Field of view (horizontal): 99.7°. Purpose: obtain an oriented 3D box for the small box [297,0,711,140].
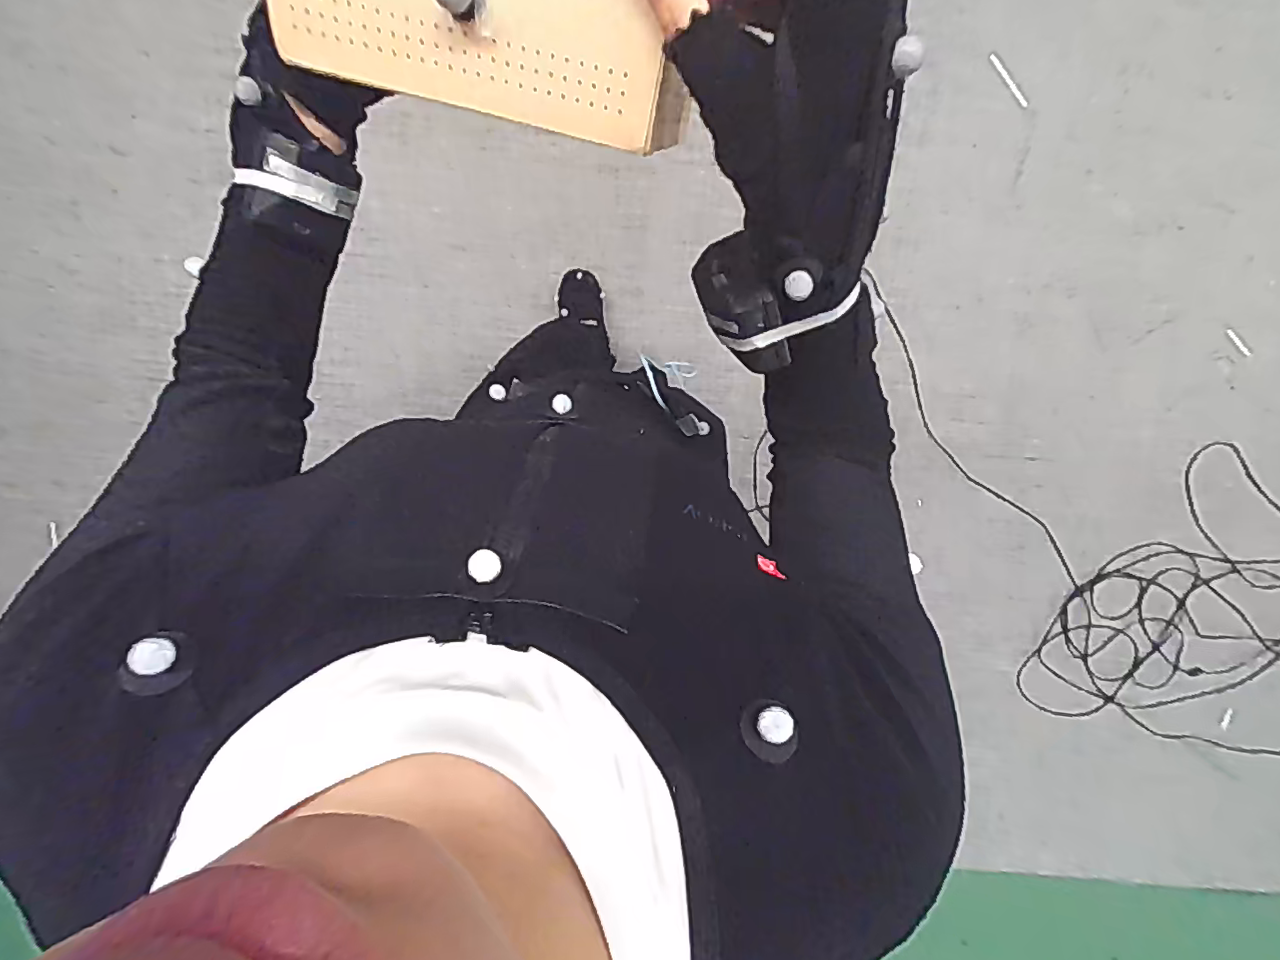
[{"bbox_3d":[-0.049,-0.283,0.270,0.179,0.168,0.176,15,126,1],"label":"small box"}]
